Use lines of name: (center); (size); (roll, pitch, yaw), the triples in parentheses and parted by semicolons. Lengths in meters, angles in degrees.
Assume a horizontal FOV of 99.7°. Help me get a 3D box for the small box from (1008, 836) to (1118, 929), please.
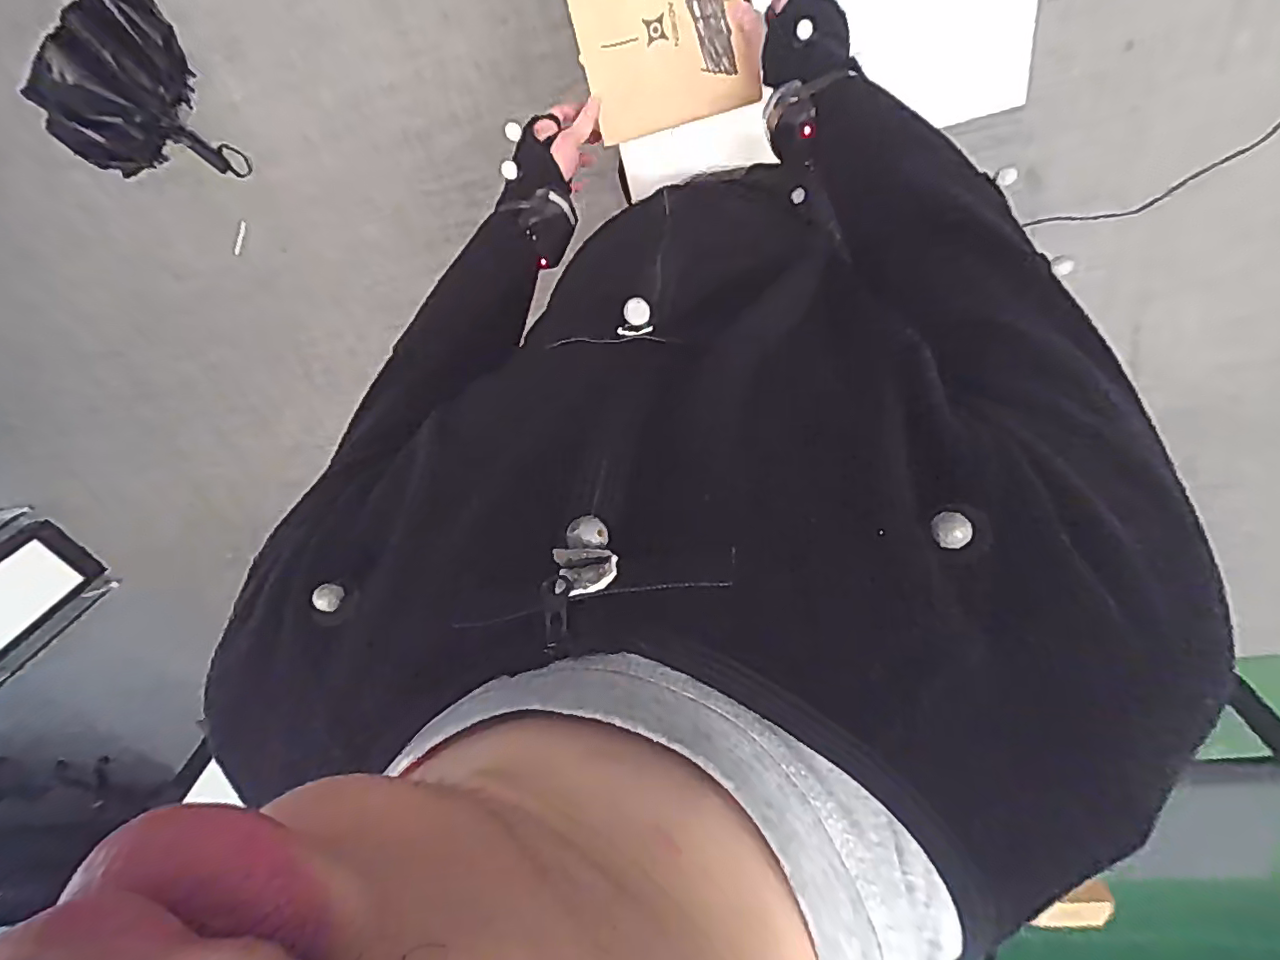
small box: (1.156, 1.108, 1.493); (0.179, 0.176, 0.168); (-10, 123, 15)

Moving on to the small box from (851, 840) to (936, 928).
small box: (0.735, 1.180, 1.584); (0.179, 0.176, 0.168); (-6, 125, 9)
